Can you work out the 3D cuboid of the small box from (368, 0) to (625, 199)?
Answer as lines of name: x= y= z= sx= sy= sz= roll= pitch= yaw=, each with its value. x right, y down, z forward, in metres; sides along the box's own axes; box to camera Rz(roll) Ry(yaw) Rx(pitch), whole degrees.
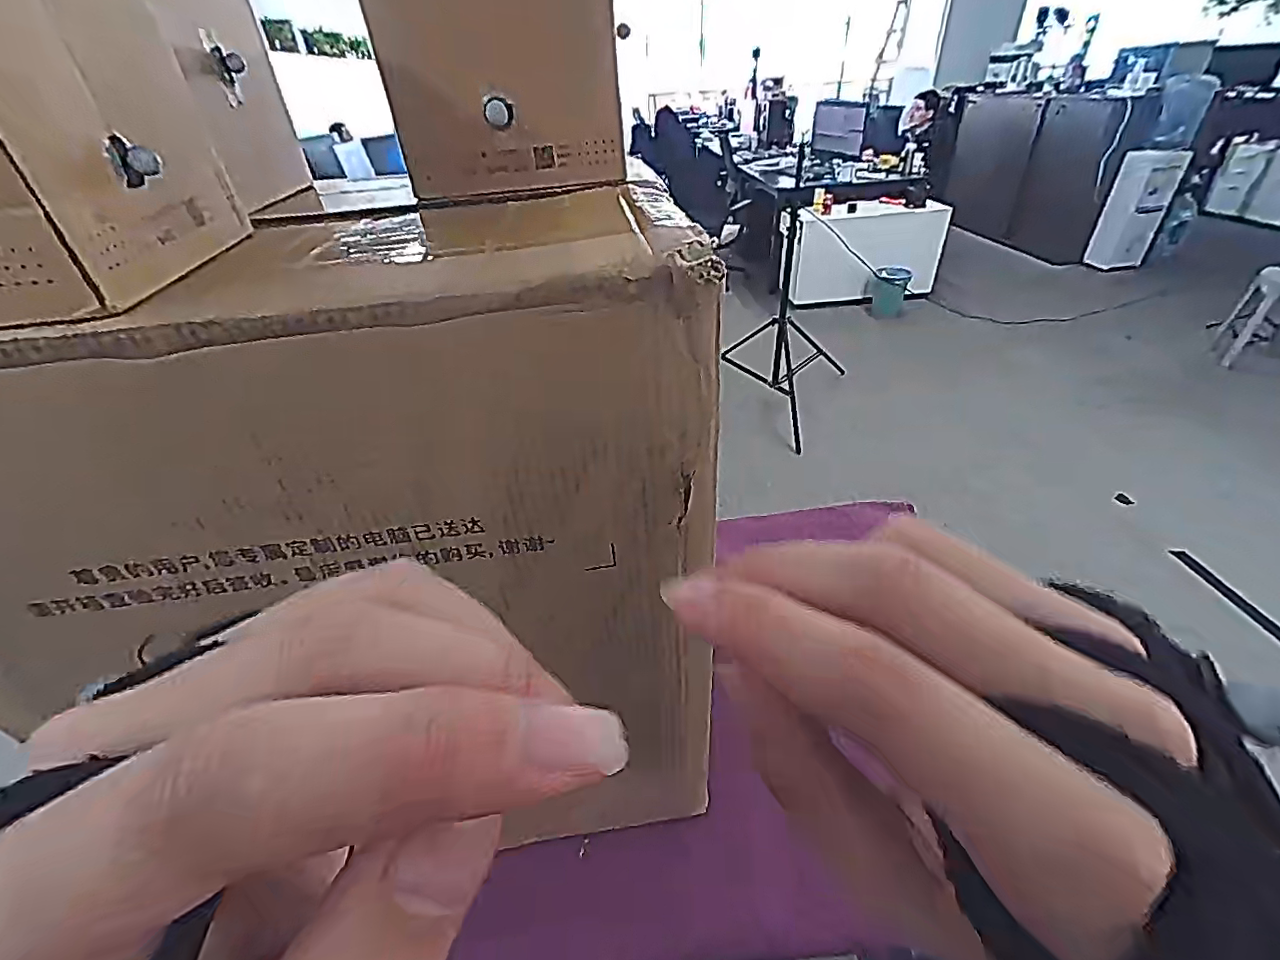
small box: x=-0.103 y=-0.336 z=0.438 sx=0.168 sy=0.176 sz=0.179 roll=-6 pitch=37 yaw=-1
